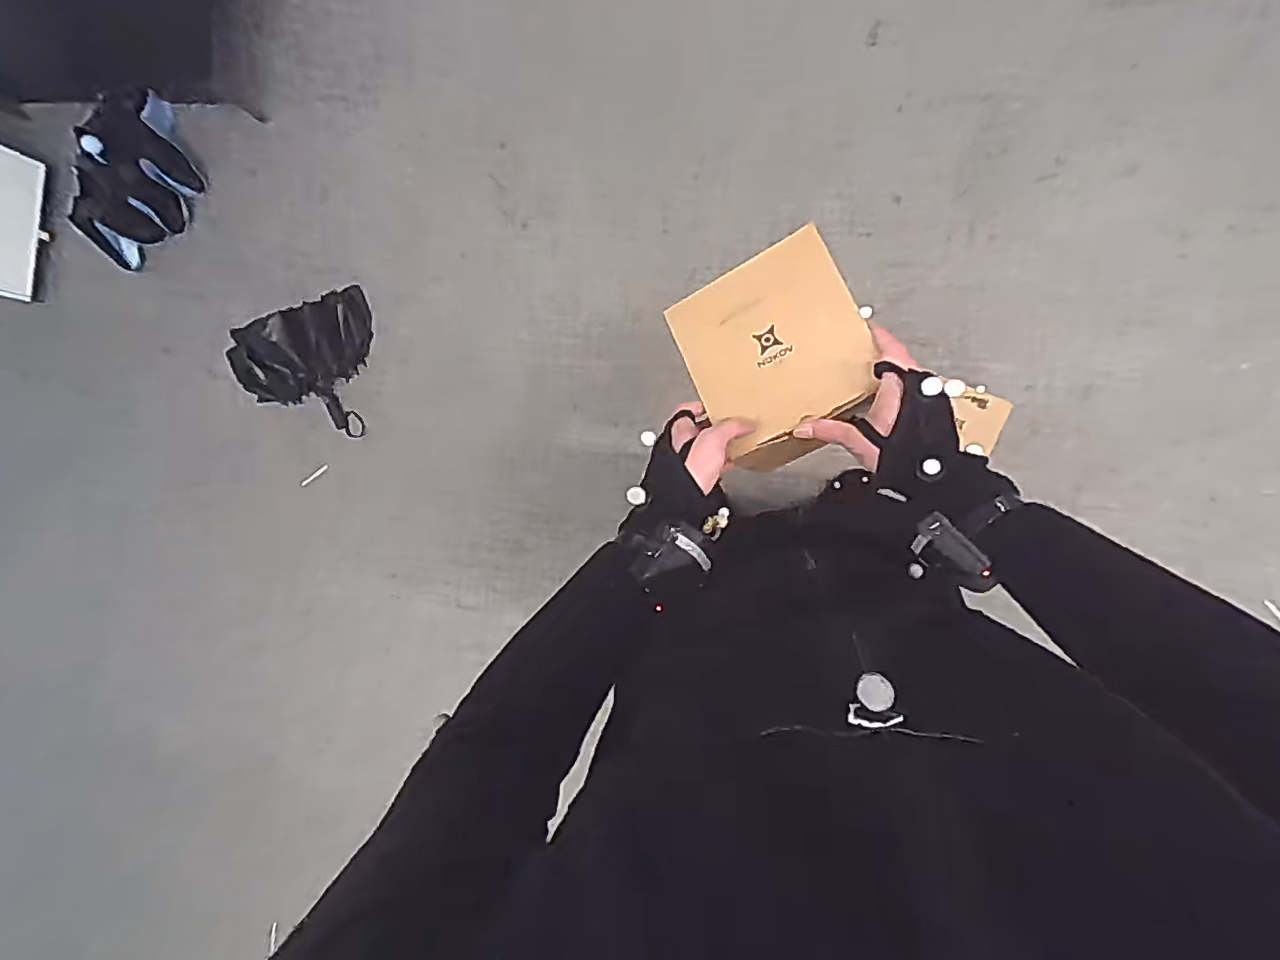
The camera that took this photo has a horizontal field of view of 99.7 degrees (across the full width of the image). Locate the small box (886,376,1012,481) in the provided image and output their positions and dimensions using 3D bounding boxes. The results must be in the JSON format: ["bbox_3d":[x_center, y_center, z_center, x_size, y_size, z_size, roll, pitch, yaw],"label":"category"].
[{"bbox_3d":[0.671,-0.110,1.203,0.168,0.176,0.179,23,96,8],"label":"small box"}]

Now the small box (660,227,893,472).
[{"bbox_3d":[0.151,-0.118,0.579,0.168,0.176,0.179,-28,74,18],"label":"small box"}]
